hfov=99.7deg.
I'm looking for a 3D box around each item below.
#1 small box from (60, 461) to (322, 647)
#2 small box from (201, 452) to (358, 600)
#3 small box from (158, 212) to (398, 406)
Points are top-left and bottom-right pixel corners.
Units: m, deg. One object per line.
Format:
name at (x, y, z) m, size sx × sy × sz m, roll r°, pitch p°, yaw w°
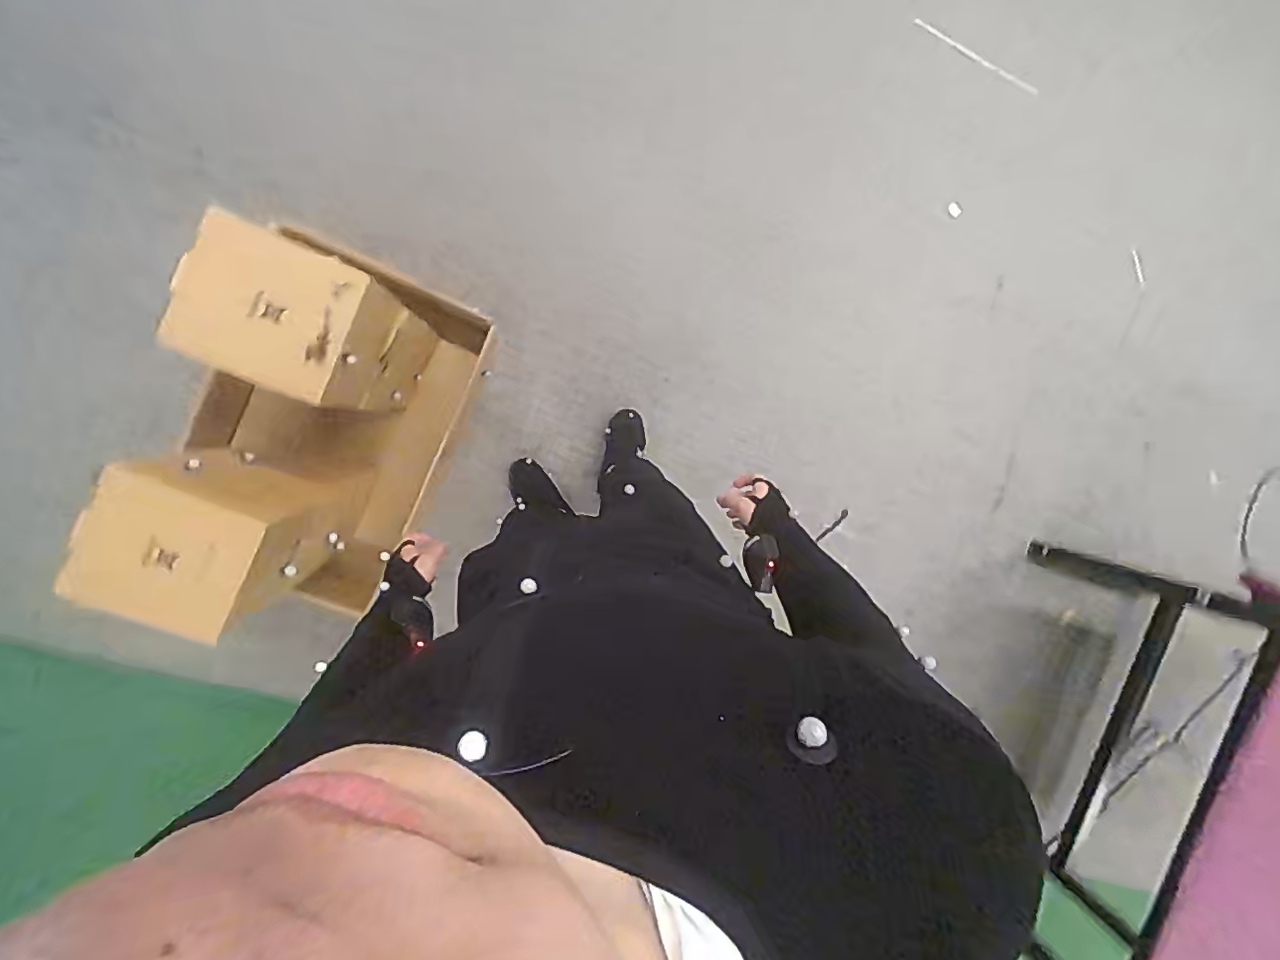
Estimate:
small box at (-0.560, 0.083, 0.704) m, size 0.179 × 0.176 × 0.168 m, roll 25°, pitch 93°, yaw -12°
small box at (-0.591, 0.063, 0.863) m, size 0.179 × 0.176 × 0.168 m, roll 26°, pitch 93°, yaw -13°
small box at (-0.440, -0.198, 0.690) m, size 0.179 × 0.176 × 0.168 m, roll 22°, pitch 92°, yaw -13°
